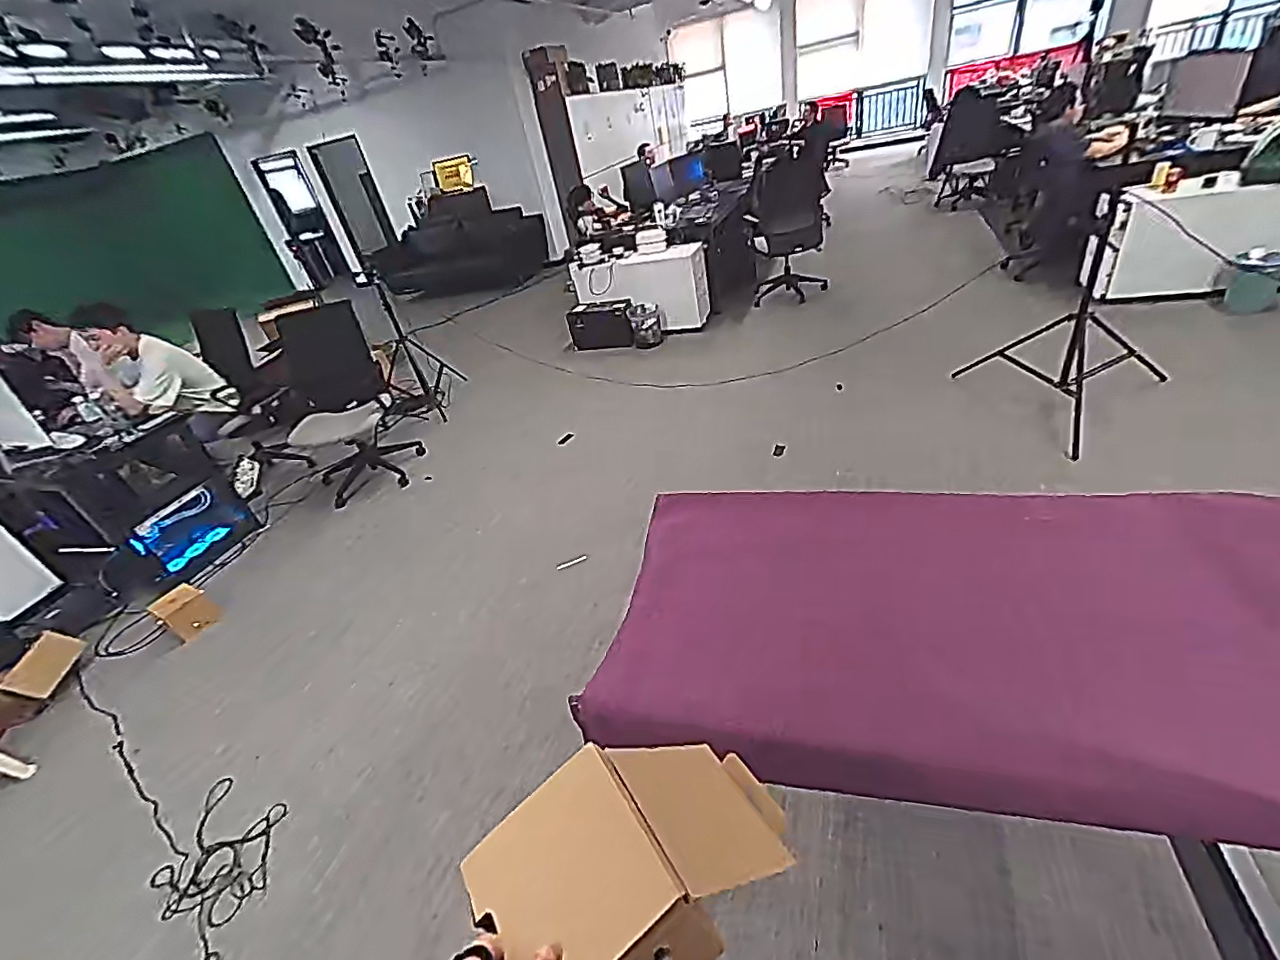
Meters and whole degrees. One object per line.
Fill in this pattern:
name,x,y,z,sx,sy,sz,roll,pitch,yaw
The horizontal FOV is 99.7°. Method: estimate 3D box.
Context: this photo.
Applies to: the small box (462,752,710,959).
small box,-0.046,0.428,0.546,0.179,0.176,0.168,-31,37,-16
